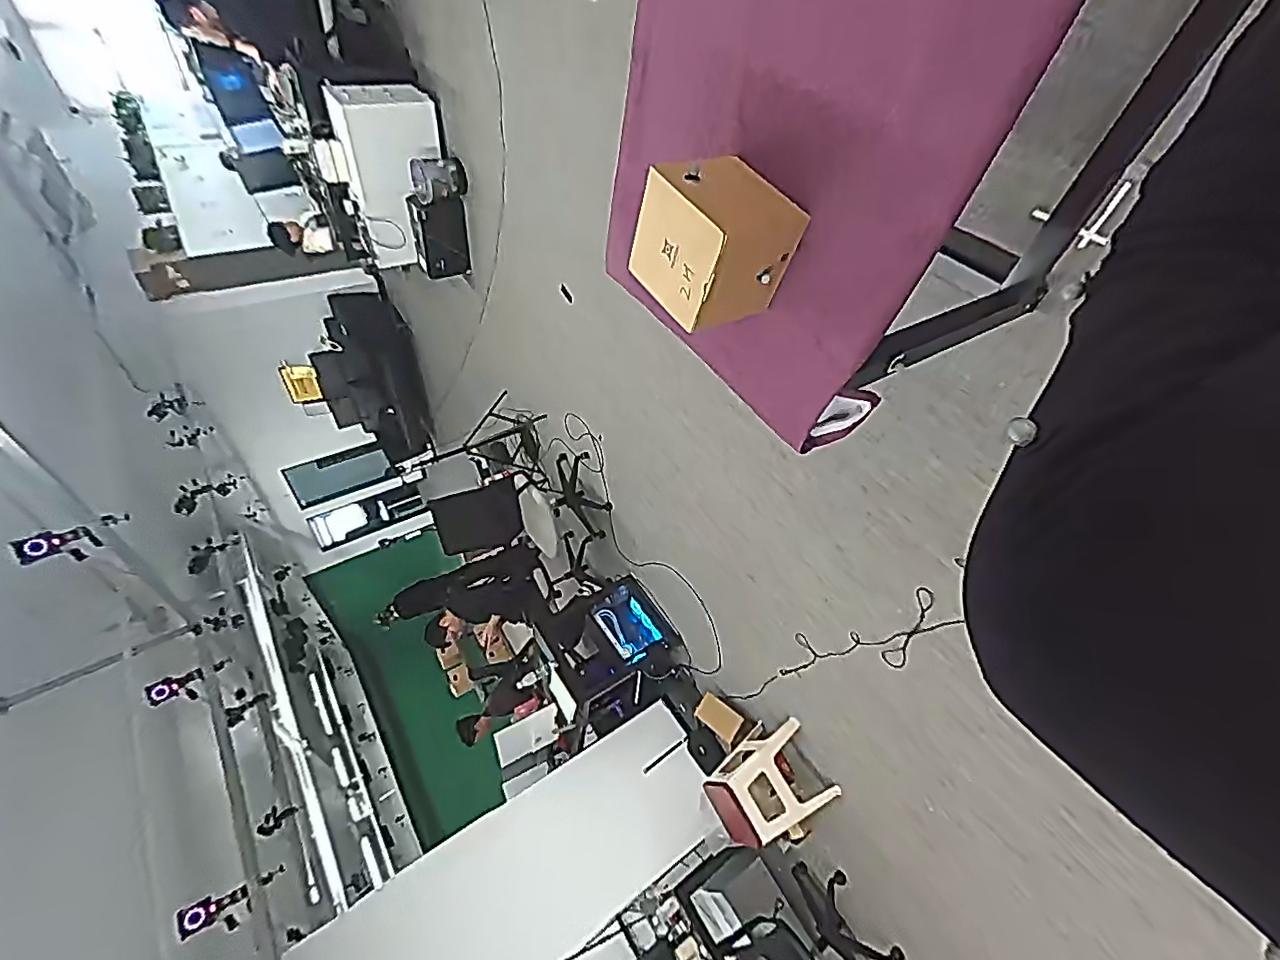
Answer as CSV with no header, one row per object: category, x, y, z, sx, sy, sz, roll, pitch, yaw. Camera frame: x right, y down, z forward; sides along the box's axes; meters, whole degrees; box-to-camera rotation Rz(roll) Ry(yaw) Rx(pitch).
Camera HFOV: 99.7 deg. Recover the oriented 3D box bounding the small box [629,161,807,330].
small box,0.112,-0.360,0.820,0.179,0.176,0.168,53,150,23
